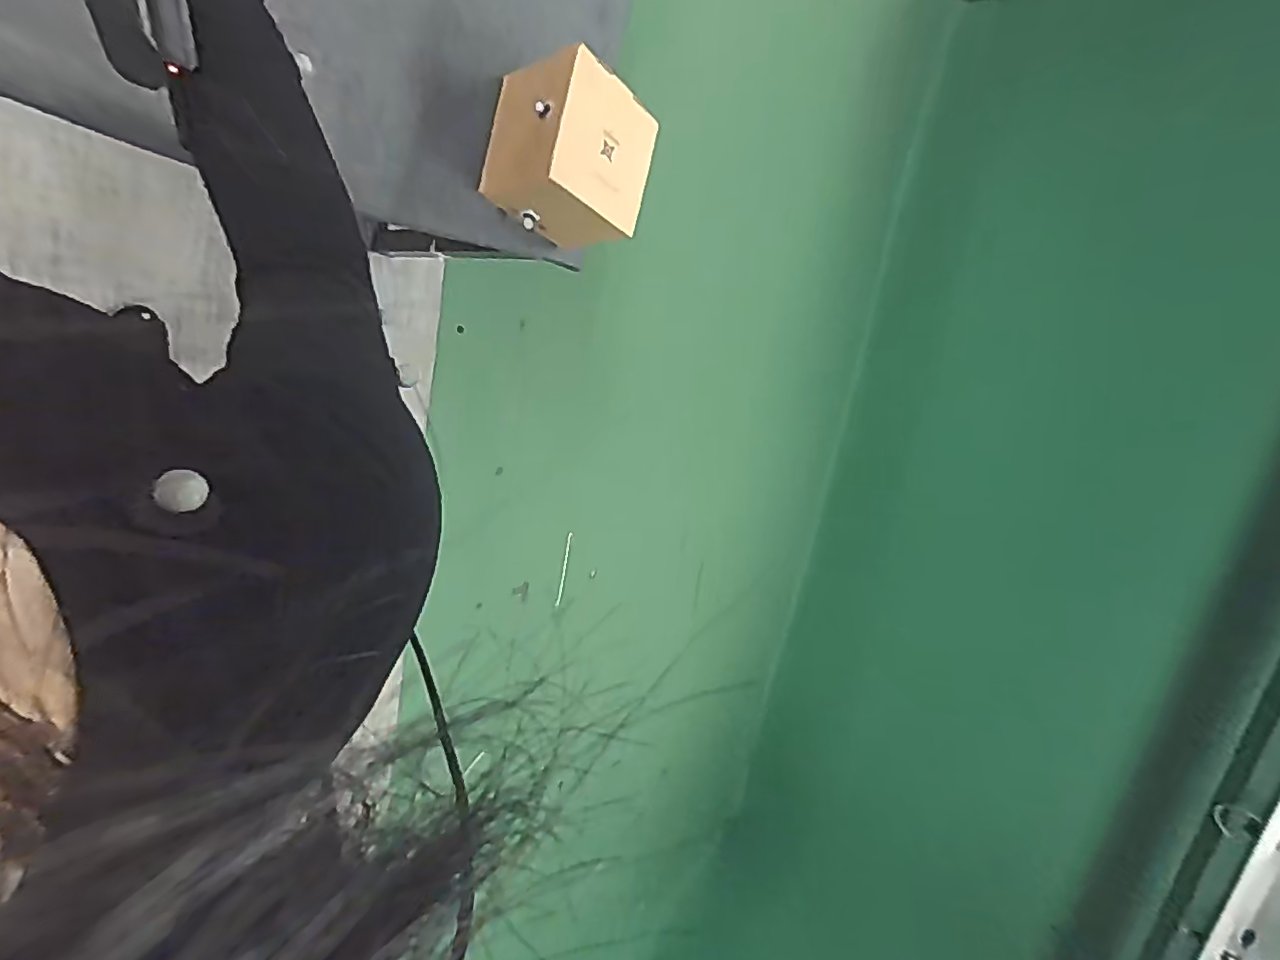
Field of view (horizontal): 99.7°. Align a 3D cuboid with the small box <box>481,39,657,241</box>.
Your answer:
[{"bbox_3d":[-0.105,-0.469,0.781,0.168,0.176,0.179,12,94,-50],"label":"small box"}]
